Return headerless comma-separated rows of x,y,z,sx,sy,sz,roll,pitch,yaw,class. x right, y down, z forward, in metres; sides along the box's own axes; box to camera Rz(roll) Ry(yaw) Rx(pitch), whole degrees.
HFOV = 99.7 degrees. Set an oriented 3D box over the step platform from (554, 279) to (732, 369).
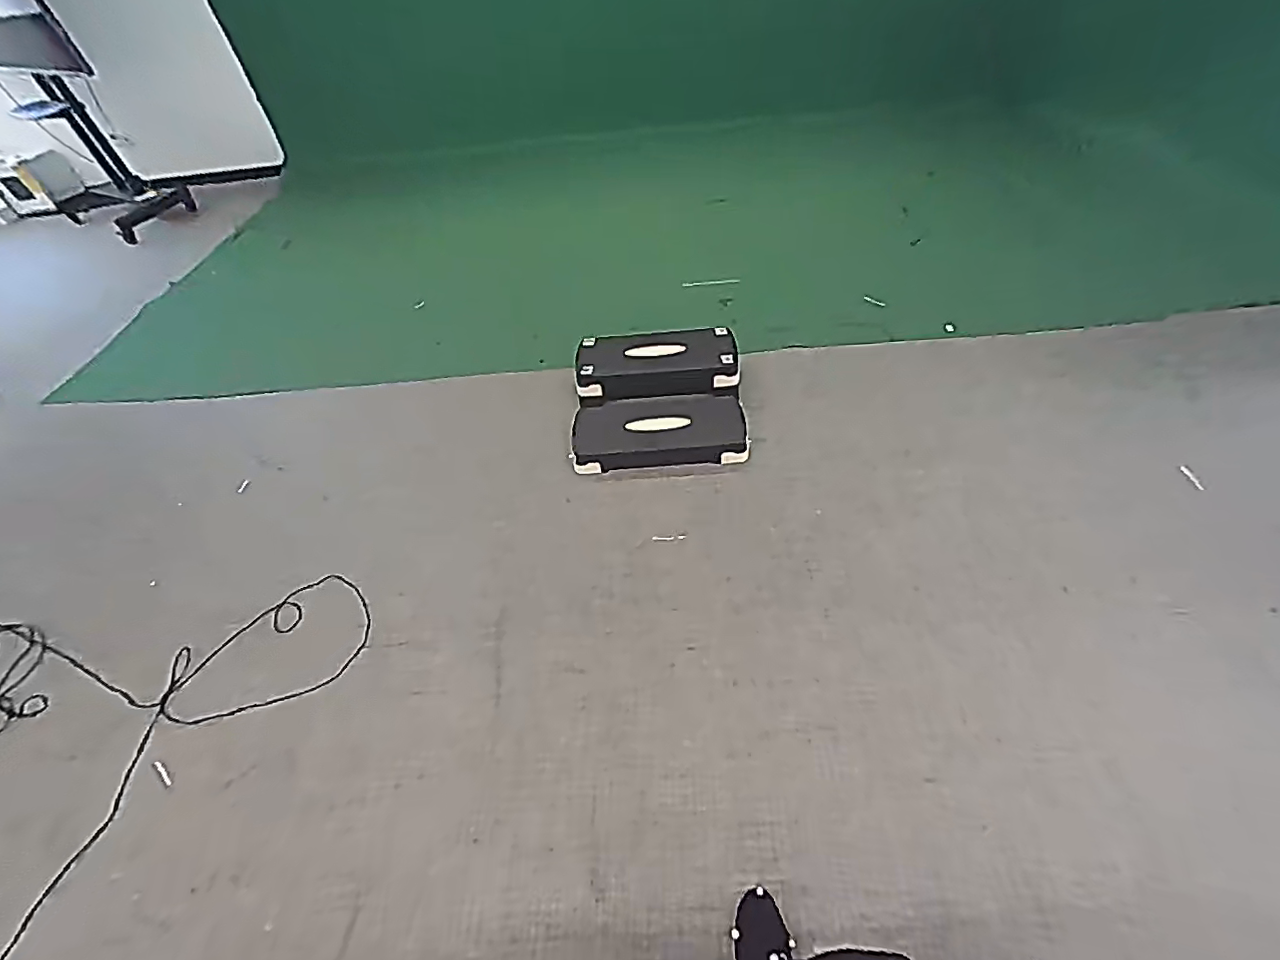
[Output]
0.016,-0.620,2.149,0.684,0.204,0.286,-4,49,3,step platform
